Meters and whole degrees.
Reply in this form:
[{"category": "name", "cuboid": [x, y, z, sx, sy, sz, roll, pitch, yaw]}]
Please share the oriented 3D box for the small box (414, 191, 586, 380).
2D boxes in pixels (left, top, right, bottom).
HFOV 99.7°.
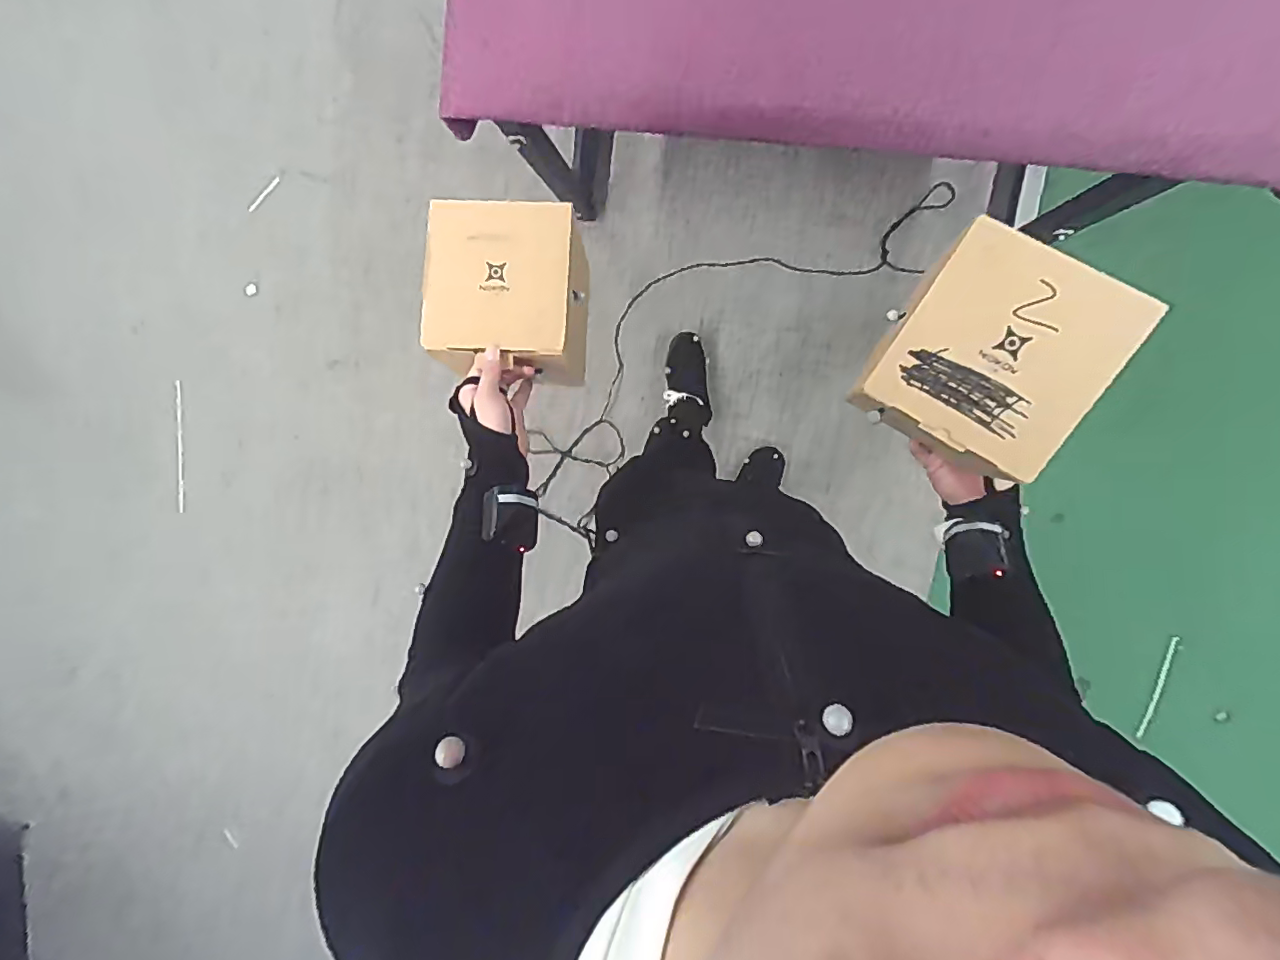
[{"category": "small box", "cuboid": [-0.162, -0.230, 0.680, 0.168, 0.176, 0.179, 3, 86, 2]}]
